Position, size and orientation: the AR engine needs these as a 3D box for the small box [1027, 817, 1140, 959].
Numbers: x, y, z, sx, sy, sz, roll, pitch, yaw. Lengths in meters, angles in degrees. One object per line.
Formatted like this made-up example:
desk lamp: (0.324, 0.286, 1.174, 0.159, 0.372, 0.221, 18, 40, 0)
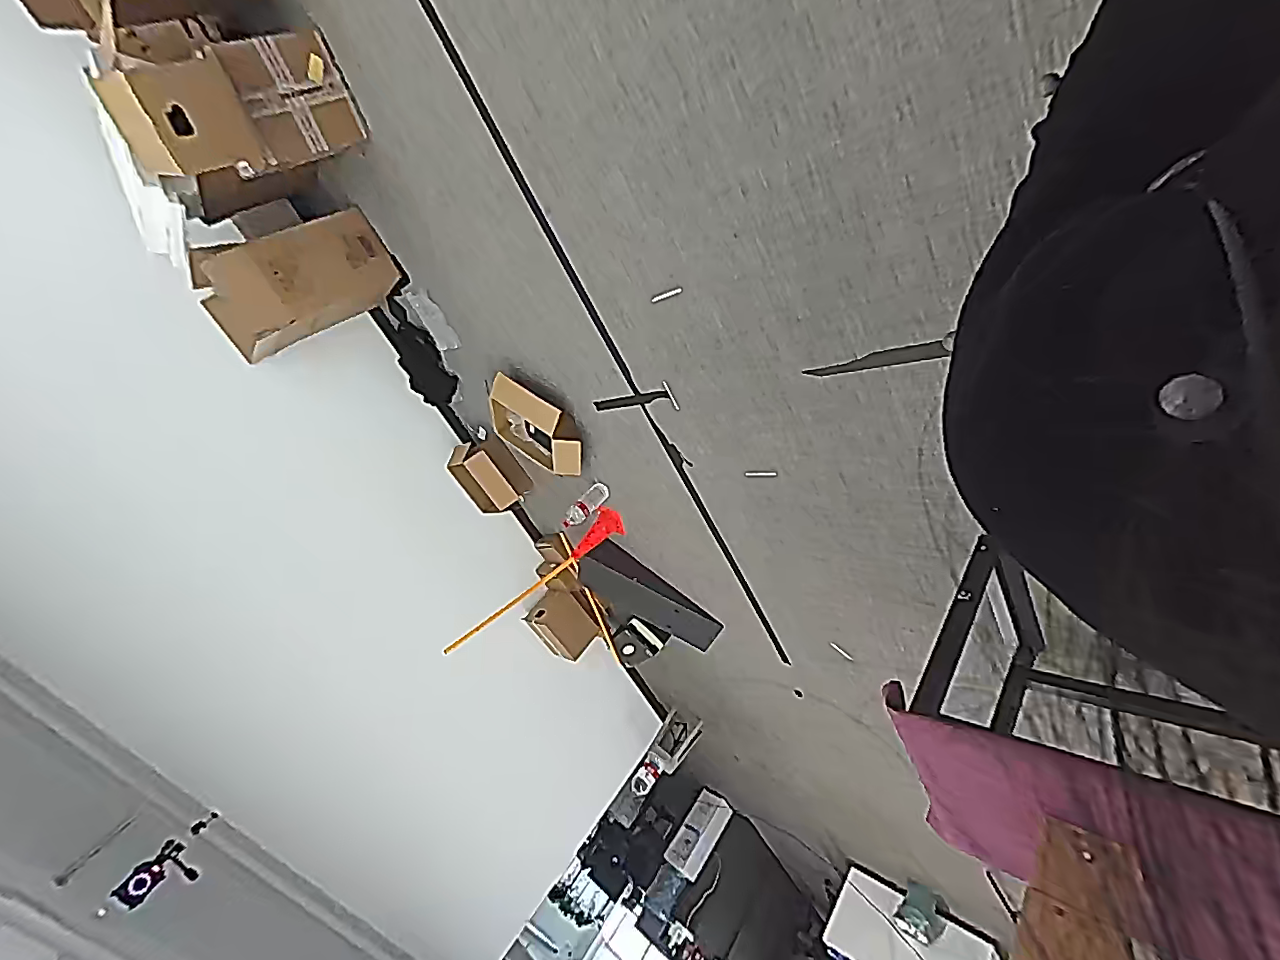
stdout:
small box: (0.944, 0.870, 1.150, 0.168, 0.176, 0.179, 5, 131, 45)
